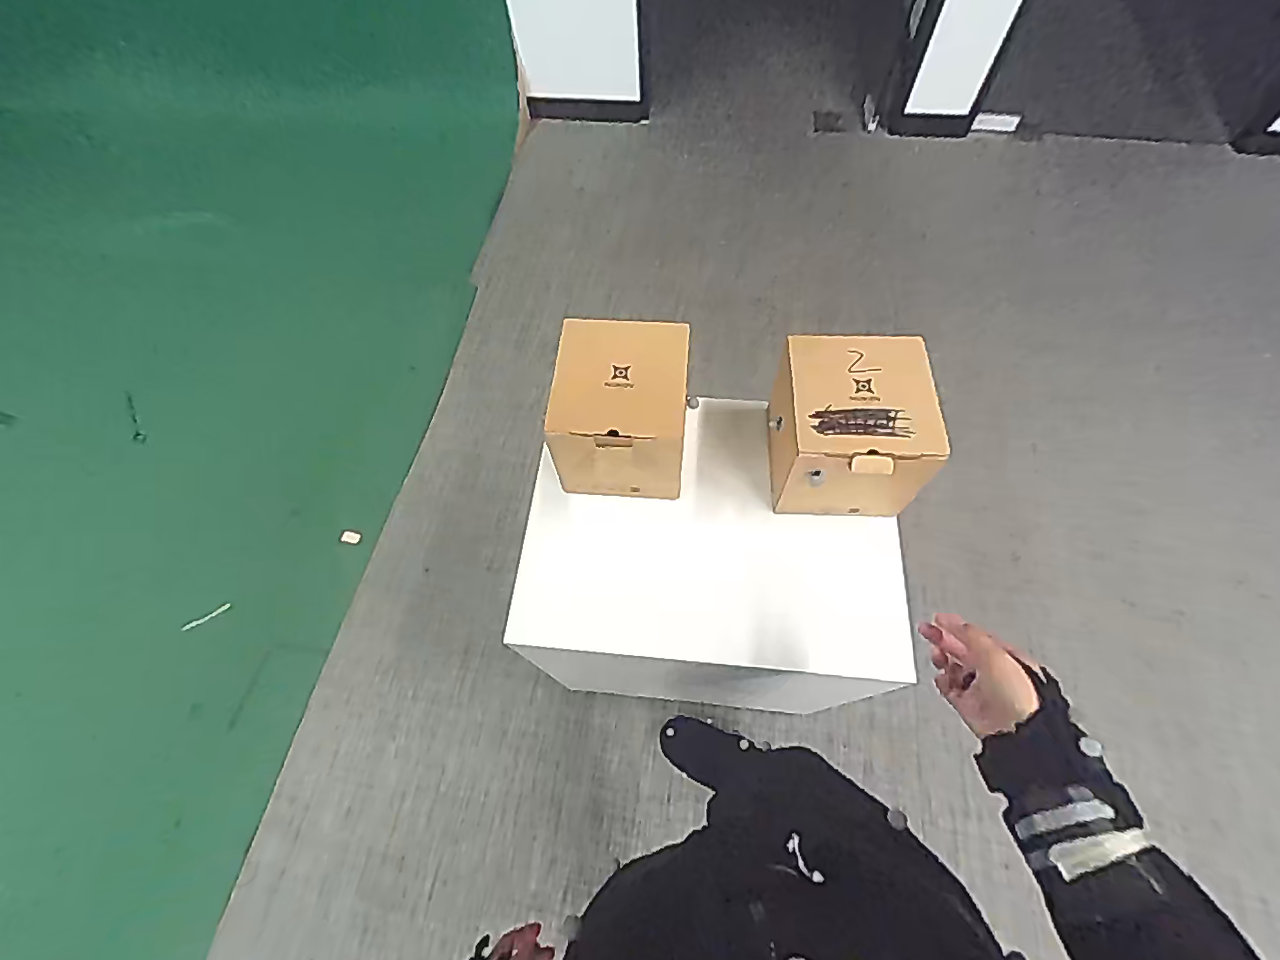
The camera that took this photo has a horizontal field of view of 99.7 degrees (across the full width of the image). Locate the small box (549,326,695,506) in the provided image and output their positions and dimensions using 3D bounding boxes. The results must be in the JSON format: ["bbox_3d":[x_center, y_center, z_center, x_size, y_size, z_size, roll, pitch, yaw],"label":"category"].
[{"bbox_3d":[-0.017,-0.082,0.734,0.168,0.176,0.179,4,64,4],"label":"small box"}]
